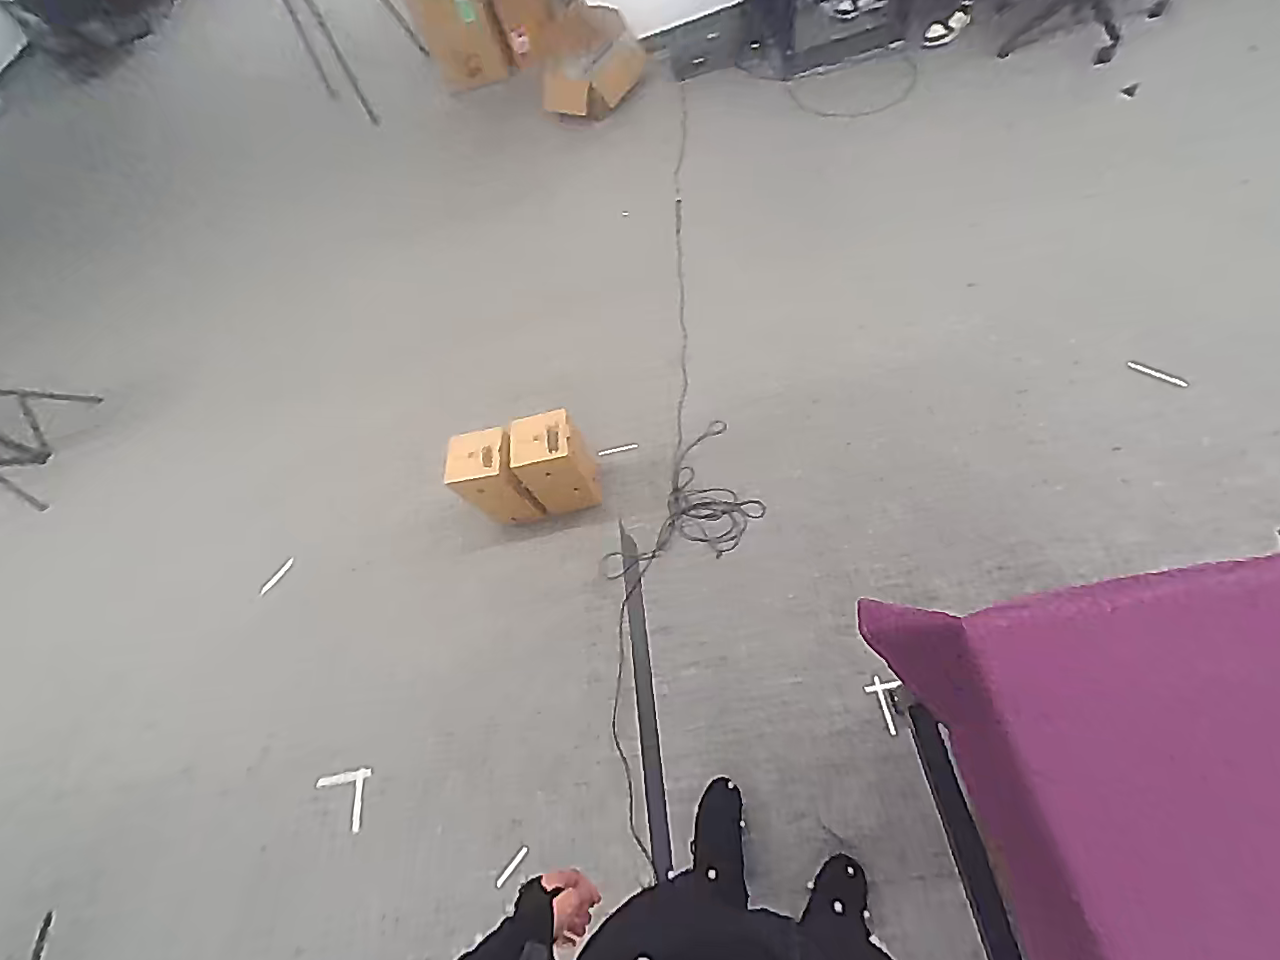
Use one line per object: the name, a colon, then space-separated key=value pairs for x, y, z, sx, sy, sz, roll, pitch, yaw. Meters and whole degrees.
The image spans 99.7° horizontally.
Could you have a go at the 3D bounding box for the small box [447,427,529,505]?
small box: x=-0.453 y=-0.037 z=1.642 sx=0.179 sy=0.176 sz=0.168 roll=-9 pitch=61 yaw=13
